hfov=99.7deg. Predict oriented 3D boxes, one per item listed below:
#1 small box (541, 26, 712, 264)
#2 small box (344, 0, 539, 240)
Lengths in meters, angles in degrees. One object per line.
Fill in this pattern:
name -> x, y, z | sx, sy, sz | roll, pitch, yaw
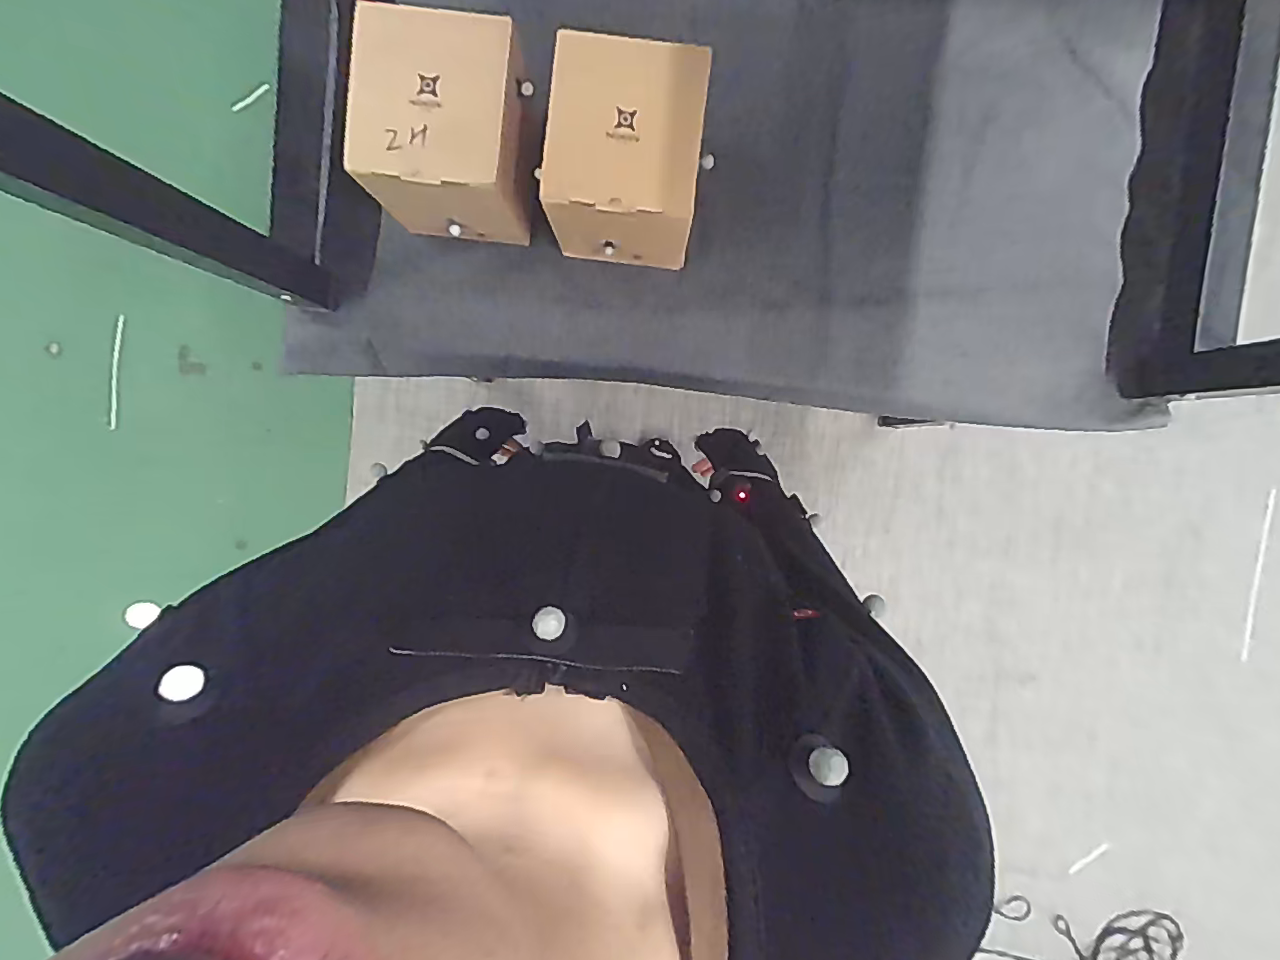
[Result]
small box -> -0.016, -0.384, 0.650 | 0.168, 0.176, 0.179 | 7, 94, 0
small box -> -0.221, -0.414, 0.645 | 0.168, 0.176, 0.179 | 7, 94, -1
